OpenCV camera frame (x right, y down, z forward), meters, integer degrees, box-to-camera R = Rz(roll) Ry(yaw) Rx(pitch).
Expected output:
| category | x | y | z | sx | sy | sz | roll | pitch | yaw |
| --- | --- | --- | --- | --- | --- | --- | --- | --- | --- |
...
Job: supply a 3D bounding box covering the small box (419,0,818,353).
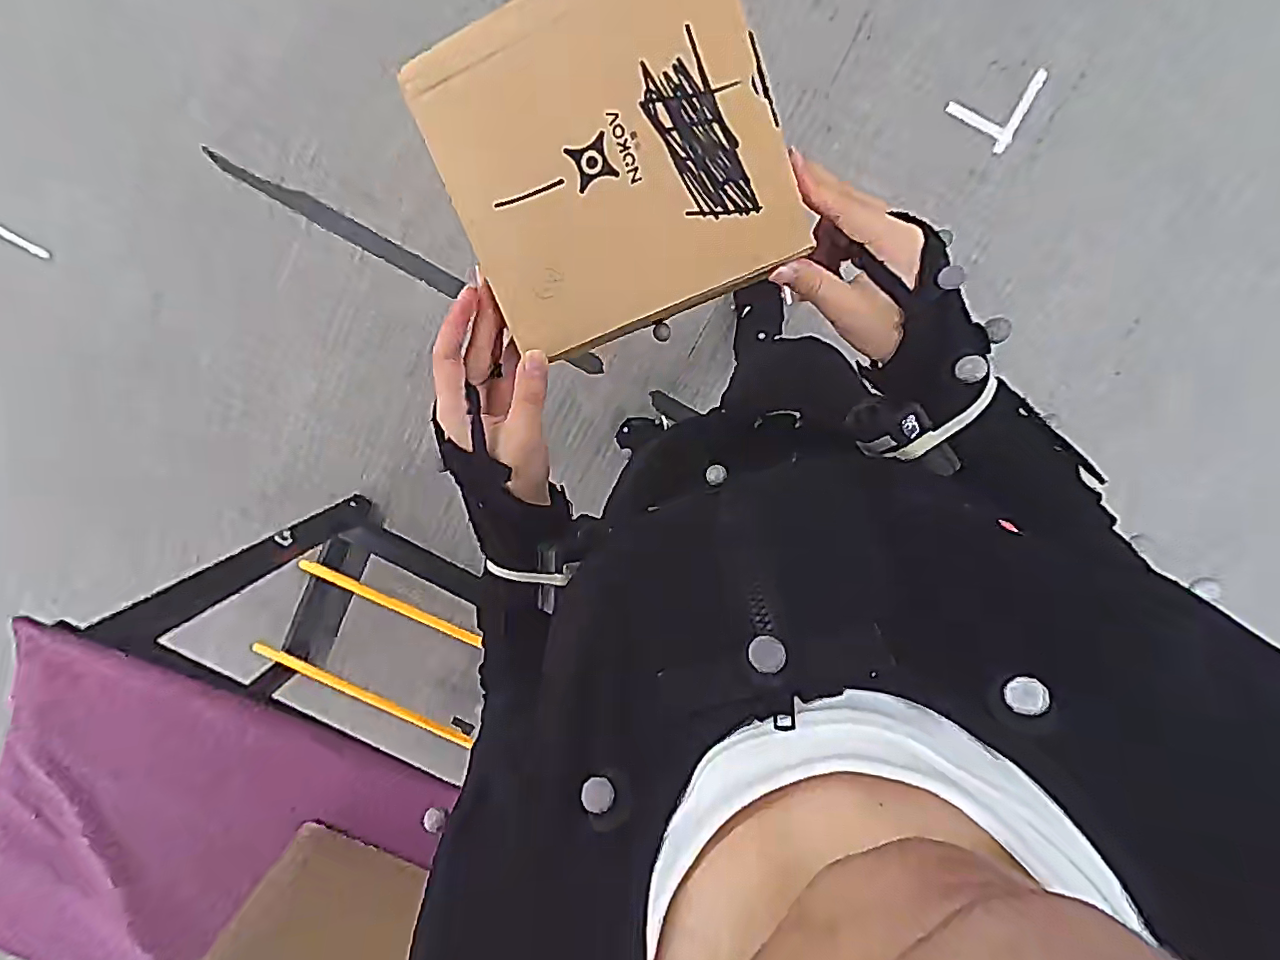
| category | x | y | z | sx | sy | sz | roll | pitch | yaw |
| --- | --- | --- | --- | --- | --- | --- | --- | --- | --- |
| small box | -0.005 | -0.198 | 0.366 | 0.179 | 0.176 | 0.168 | -20 | 103 | 10 |
